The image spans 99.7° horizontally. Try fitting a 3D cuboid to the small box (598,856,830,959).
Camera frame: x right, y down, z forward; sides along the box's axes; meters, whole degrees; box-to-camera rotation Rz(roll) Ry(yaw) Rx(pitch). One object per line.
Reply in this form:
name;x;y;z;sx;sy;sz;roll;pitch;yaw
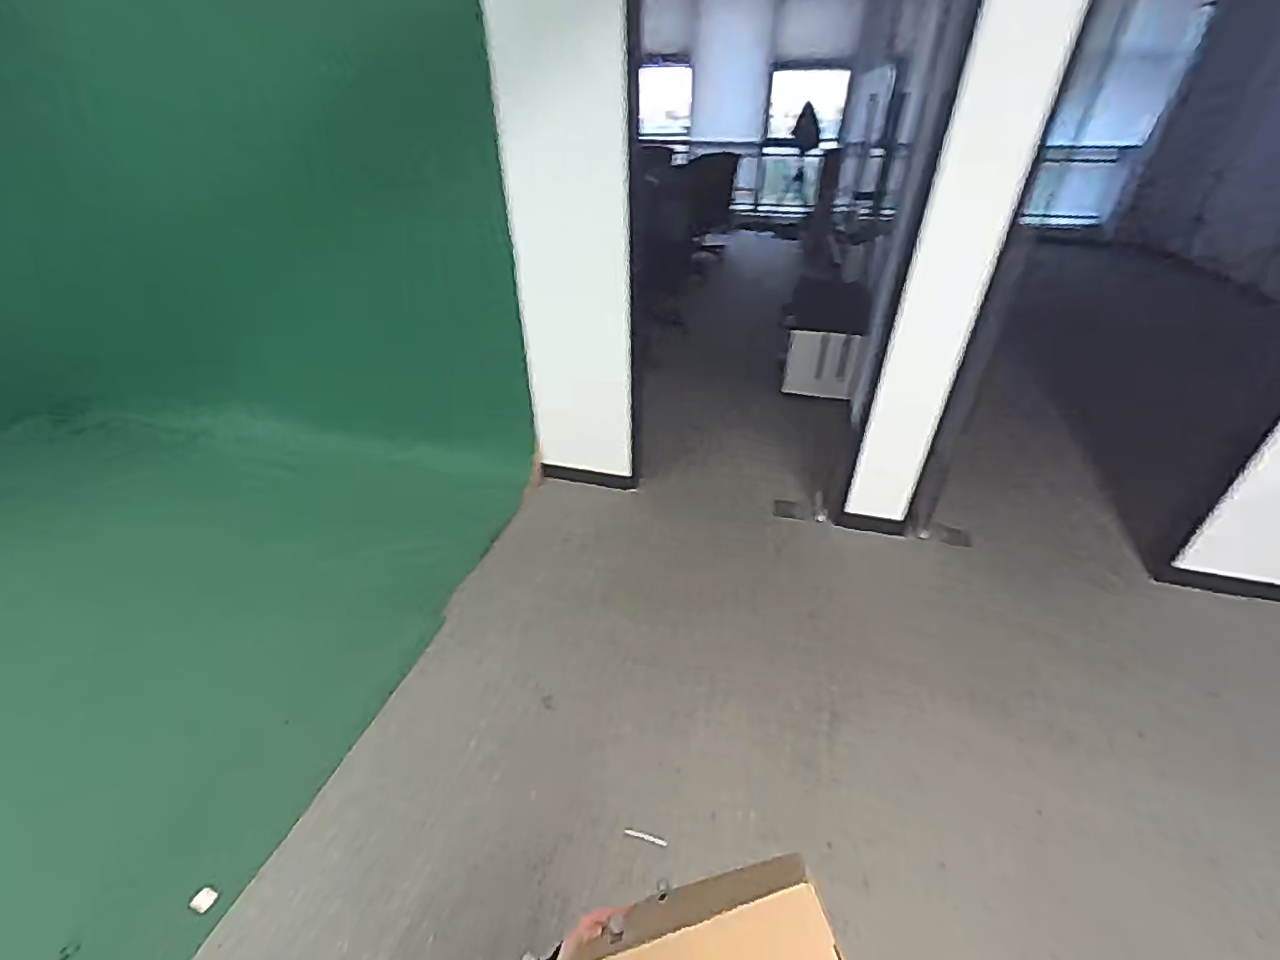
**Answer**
small box;0.082;0.450;0.470;0.179;0.176;0.168;-19;57;3
